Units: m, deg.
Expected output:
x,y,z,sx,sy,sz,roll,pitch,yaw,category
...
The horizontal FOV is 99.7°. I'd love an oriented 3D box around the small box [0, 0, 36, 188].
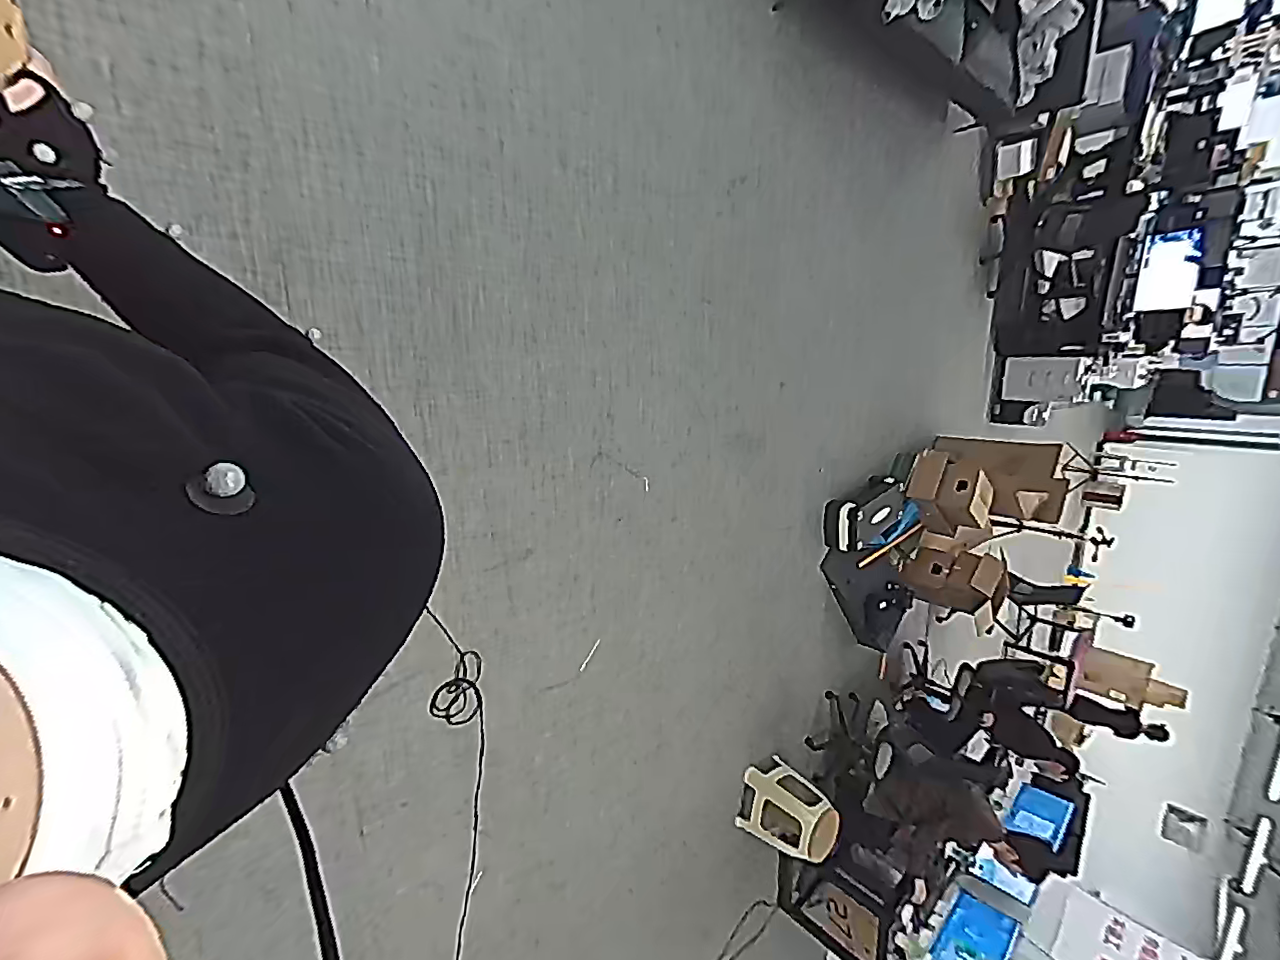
x,y,z,sx,sy,sz,roll,pitch,yaw,category
-0.641,-0.364,0.447,0.179,0.176,0.168,-10,102,-45,small box
